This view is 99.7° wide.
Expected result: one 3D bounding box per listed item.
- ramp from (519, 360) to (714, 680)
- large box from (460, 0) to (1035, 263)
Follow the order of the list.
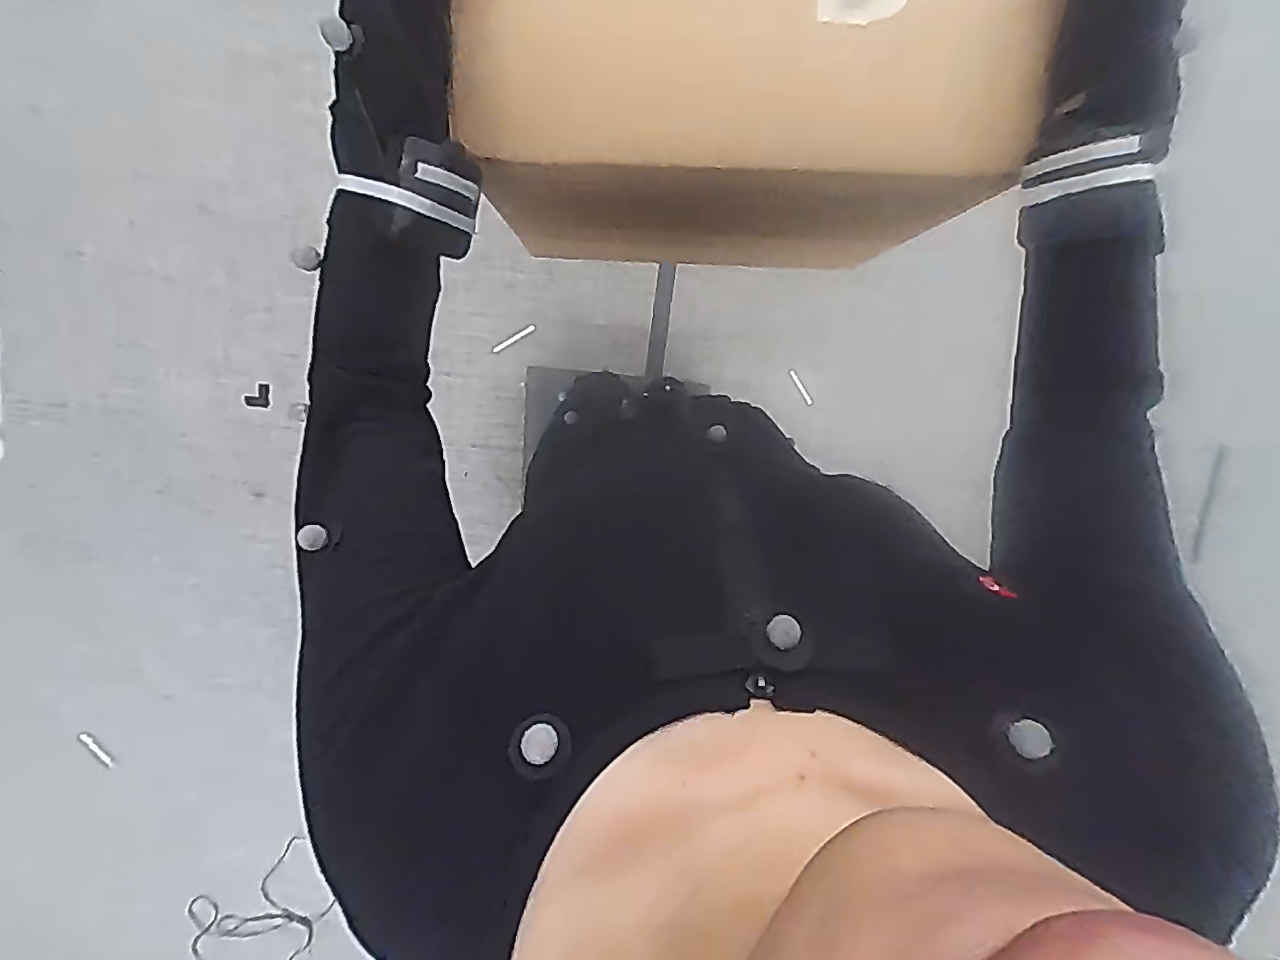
[{"bbox_3d":[-0.094,0.170,1.594,0.509,0.206,0.991,4,100,-4],"label":"ramp"},{"bbox_3d":[0.070,-0.401,0.509,0.408,0.320,0.320,1,100,-2],"label":"large box"}]
